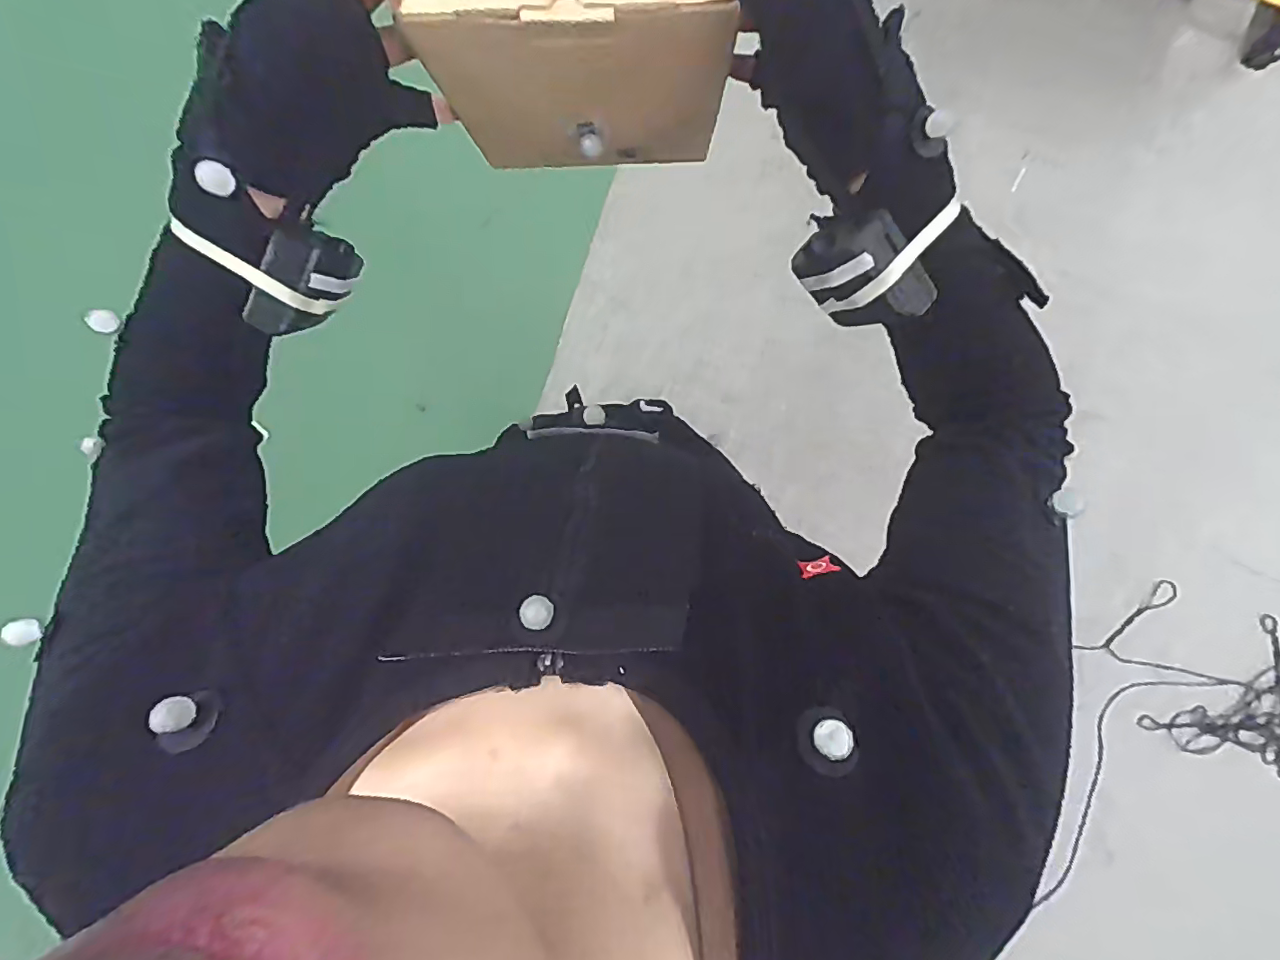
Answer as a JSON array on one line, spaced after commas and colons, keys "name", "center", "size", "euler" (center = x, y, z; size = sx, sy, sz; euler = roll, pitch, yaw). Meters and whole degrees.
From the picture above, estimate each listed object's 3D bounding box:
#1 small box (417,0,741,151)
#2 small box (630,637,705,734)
[{"name": "small box", "center": [-0.033, -0.320, 0.308], "size": [0.168, 0.176, 0.179], "euler": [-1, 98, 2]}, {"name": "small box", "center": [0.067, 0.540, 1.443], "size": [0.168, 0.176, 0.179], "euler": [11, 96, -1]}]
